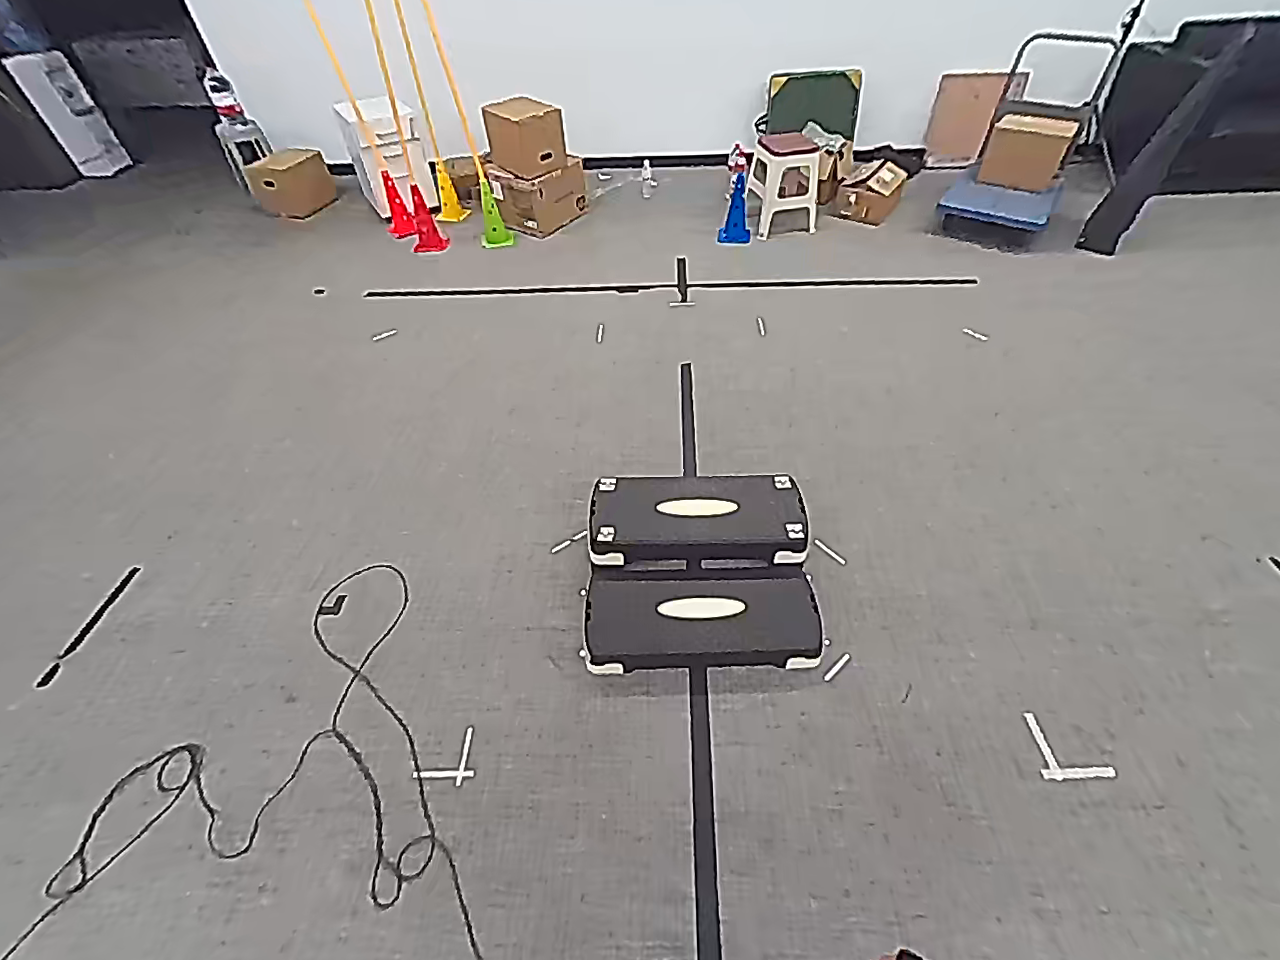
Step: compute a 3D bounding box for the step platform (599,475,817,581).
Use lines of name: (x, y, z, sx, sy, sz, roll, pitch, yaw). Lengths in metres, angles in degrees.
step platform: (0.209, 0.146, 1.741, 0.684, 0.204, 0.286, -1, 47, 0)
